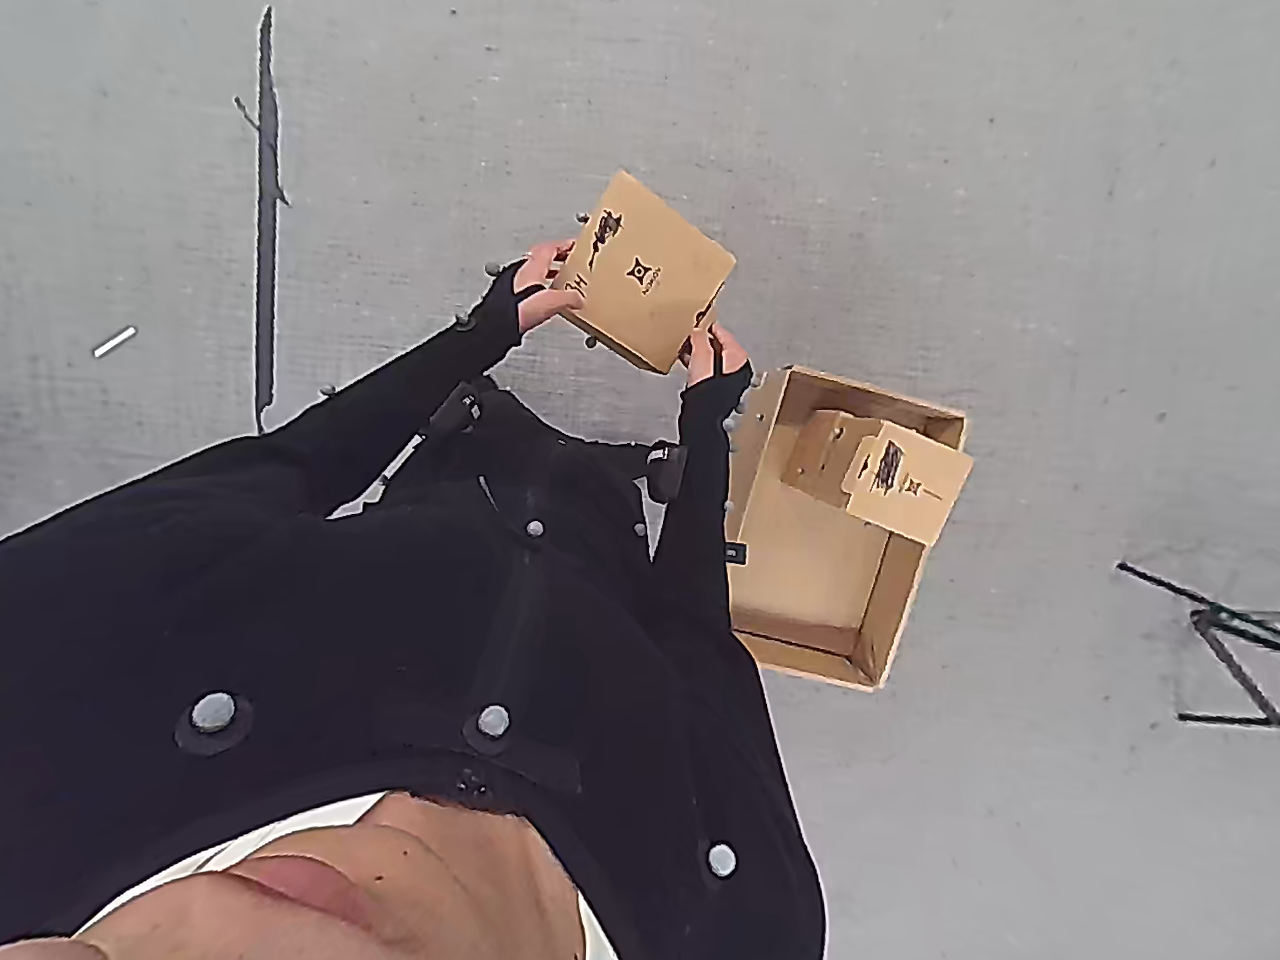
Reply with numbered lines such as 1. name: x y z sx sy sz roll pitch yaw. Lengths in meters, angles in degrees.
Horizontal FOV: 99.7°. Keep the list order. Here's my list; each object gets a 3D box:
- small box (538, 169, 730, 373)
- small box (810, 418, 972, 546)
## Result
1. small box: -0.019 -0.262 0.712 0.179 0.176 0.168 30 96 -18
2. small box: 0.436 -0.003 0.973 0.179 0.176 0.168 22 97 -6
